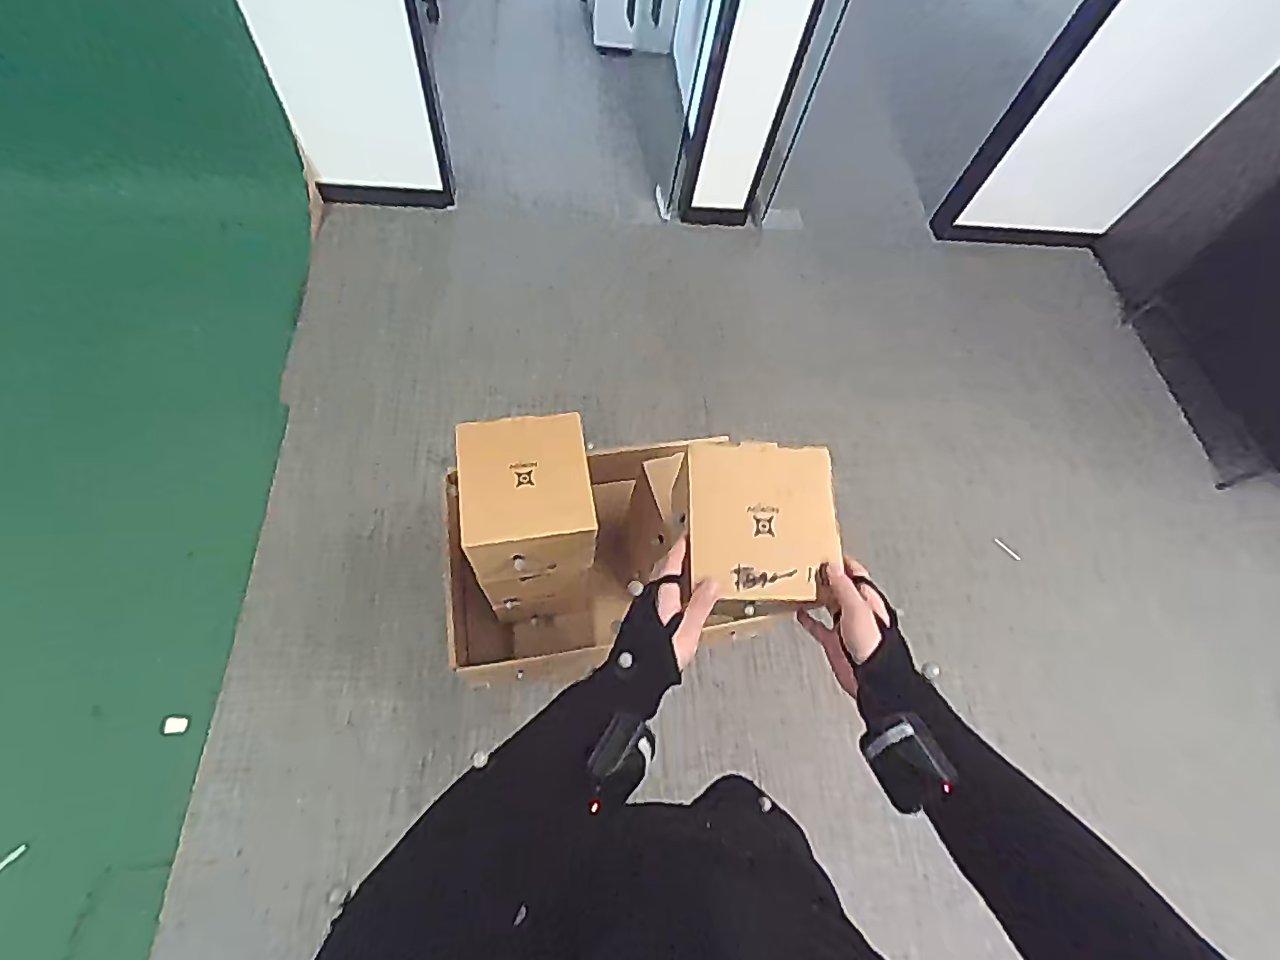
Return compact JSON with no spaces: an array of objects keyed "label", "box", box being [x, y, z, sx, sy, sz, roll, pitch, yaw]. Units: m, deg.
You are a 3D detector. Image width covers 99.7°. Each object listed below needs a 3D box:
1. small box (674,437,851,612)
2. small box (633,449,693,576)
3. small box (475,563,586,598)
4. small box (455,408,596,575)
[{"label":"small box","box":[0.132,0.062,0.655,0.168,0.176,0.179,1,72,-3]},{"label":"small box","box":[0.096,0.058,0.948,0.168,0.176,0.179,-12,67,-15]},{"label":"small box","box":[-0.177,0.089,0.894,0.168,0.176,0.179,-5,64,-10]},{"label":"small box","box":[-0.154,0.024,0.748,0.168,0.176,0.179,-7,65,-11]}]
